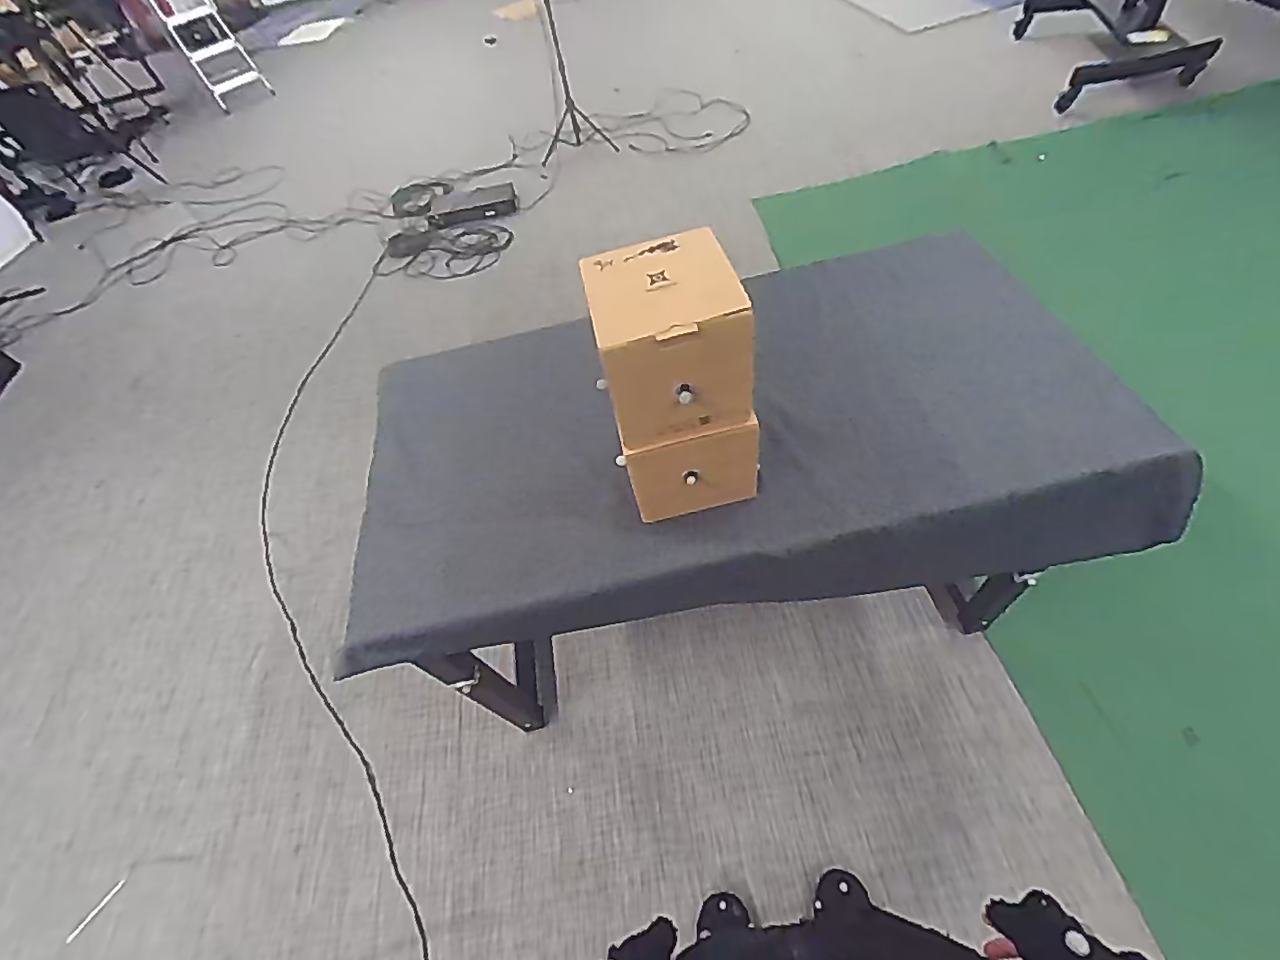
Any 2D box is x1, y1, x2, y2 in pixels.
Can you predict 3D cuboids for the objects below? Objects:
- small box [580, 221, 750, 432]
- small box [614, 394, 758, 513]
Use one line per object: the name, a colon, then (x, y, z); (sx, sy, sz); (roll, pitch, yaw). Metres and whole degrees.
small box: (0.034, -0.178, 0.665); (0.168, 0.176, 0.179); (-14, 54, 1)
small box: (0.062, -0.075, 0.789); (0.179, 0.176, 0.168); (-14, 54, 1)
